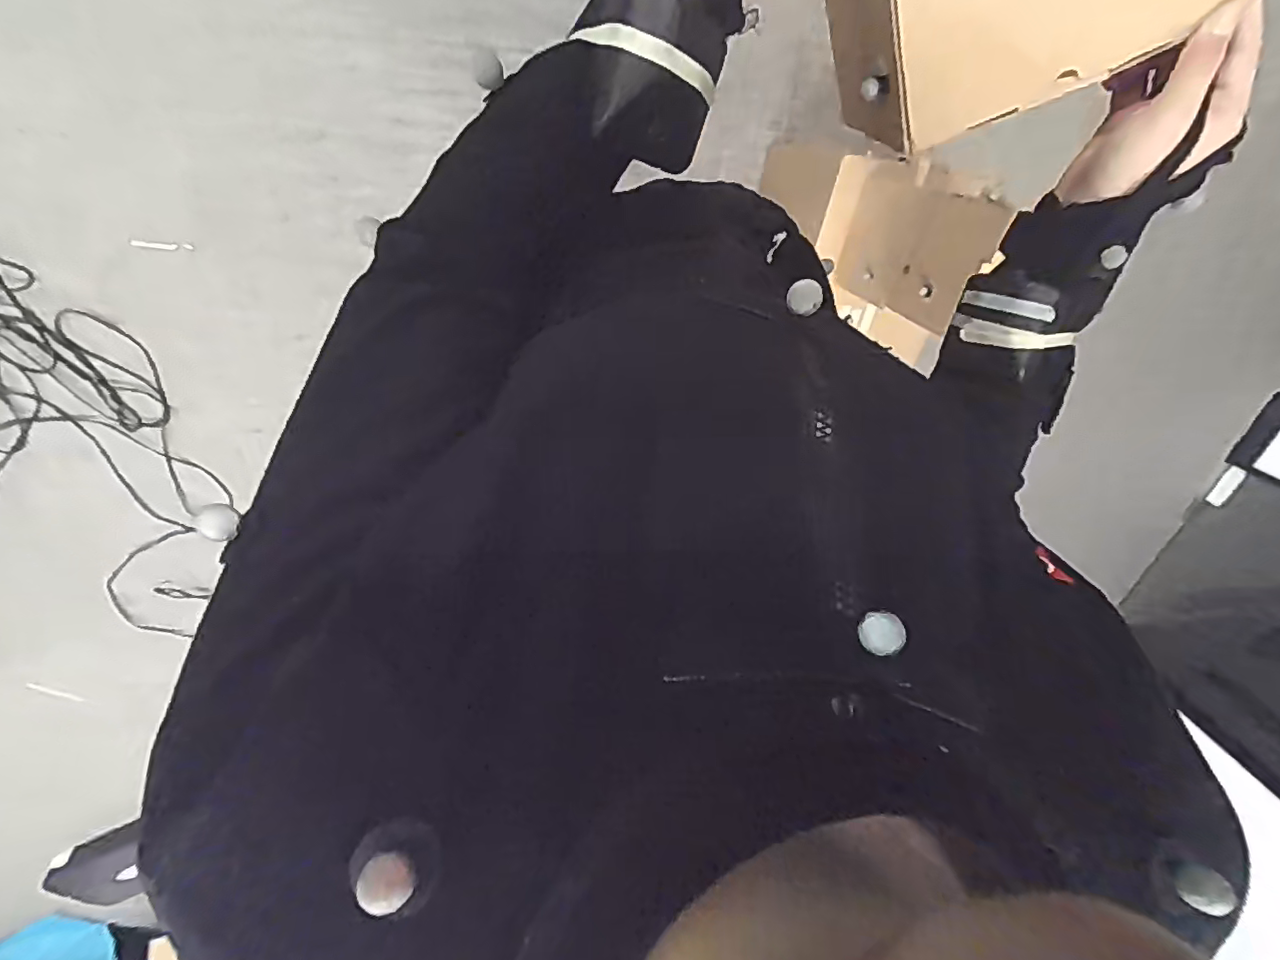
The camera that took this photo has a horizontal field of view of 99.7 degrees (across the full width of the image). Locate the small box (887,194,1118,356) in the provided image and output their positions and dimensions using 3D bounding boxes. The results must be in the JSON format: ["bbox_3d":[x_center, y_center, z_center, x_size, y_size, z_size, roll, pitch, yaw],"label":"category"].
[{"bbox_3d":[0.494,-0.294,0.769,0.179,0.176,0.168,3,125,-17],"label":"small box"}]

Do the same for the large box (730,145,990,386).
[{"bbox_3d":[0.421,-0.452,1.146,0.320,0.320,0.408,1,124,-13],"label":"large box"}]
